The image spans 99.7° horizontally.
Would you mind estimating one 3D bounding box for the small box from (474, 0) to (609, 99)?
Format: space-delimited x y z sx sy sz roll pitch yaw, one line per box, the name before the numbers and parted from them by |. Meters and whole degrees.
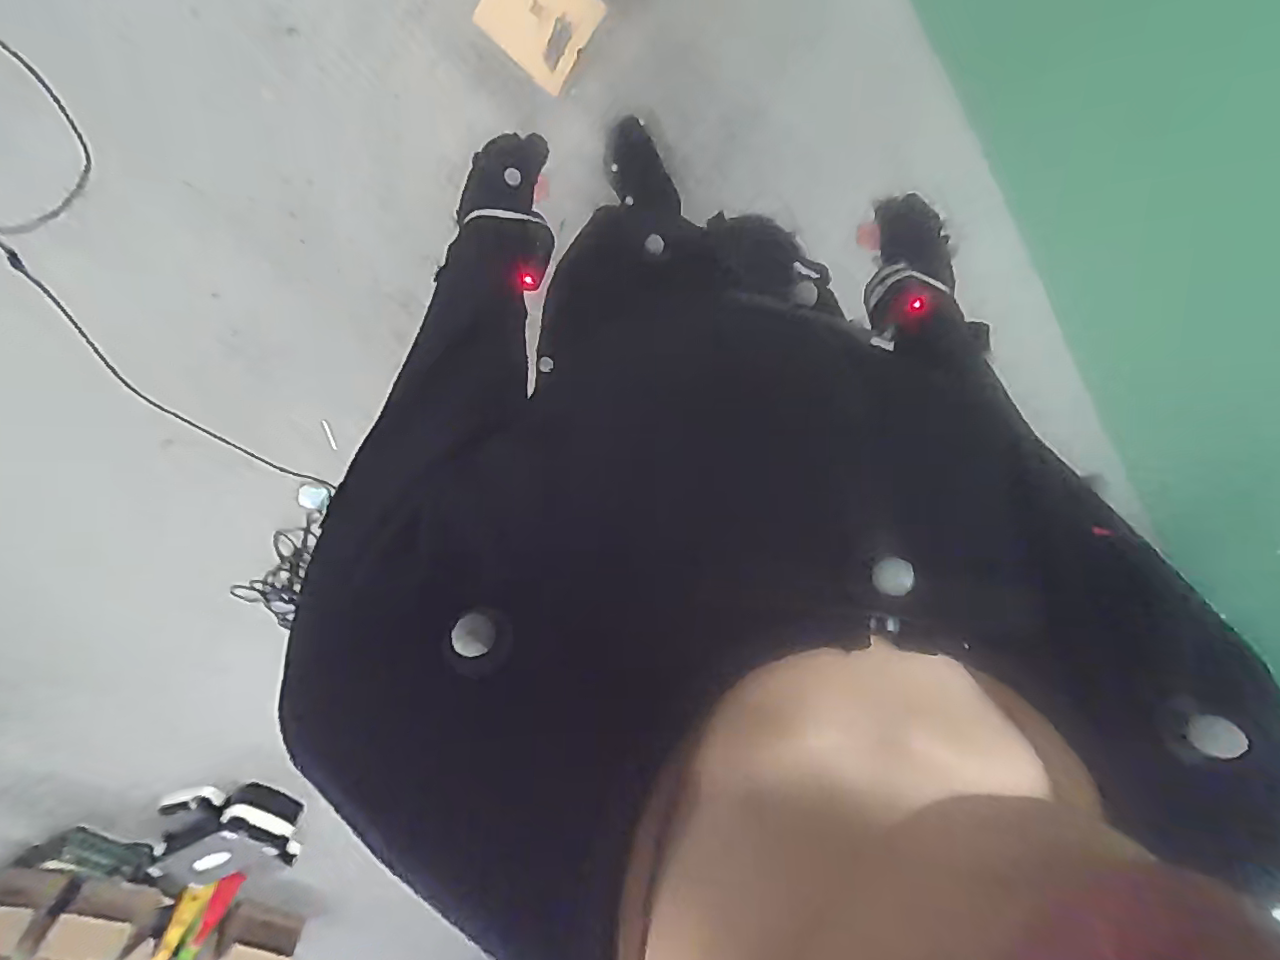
small box | -0.171 -0.839 0.990 0.179 0.176 0.168 35 114 -21
